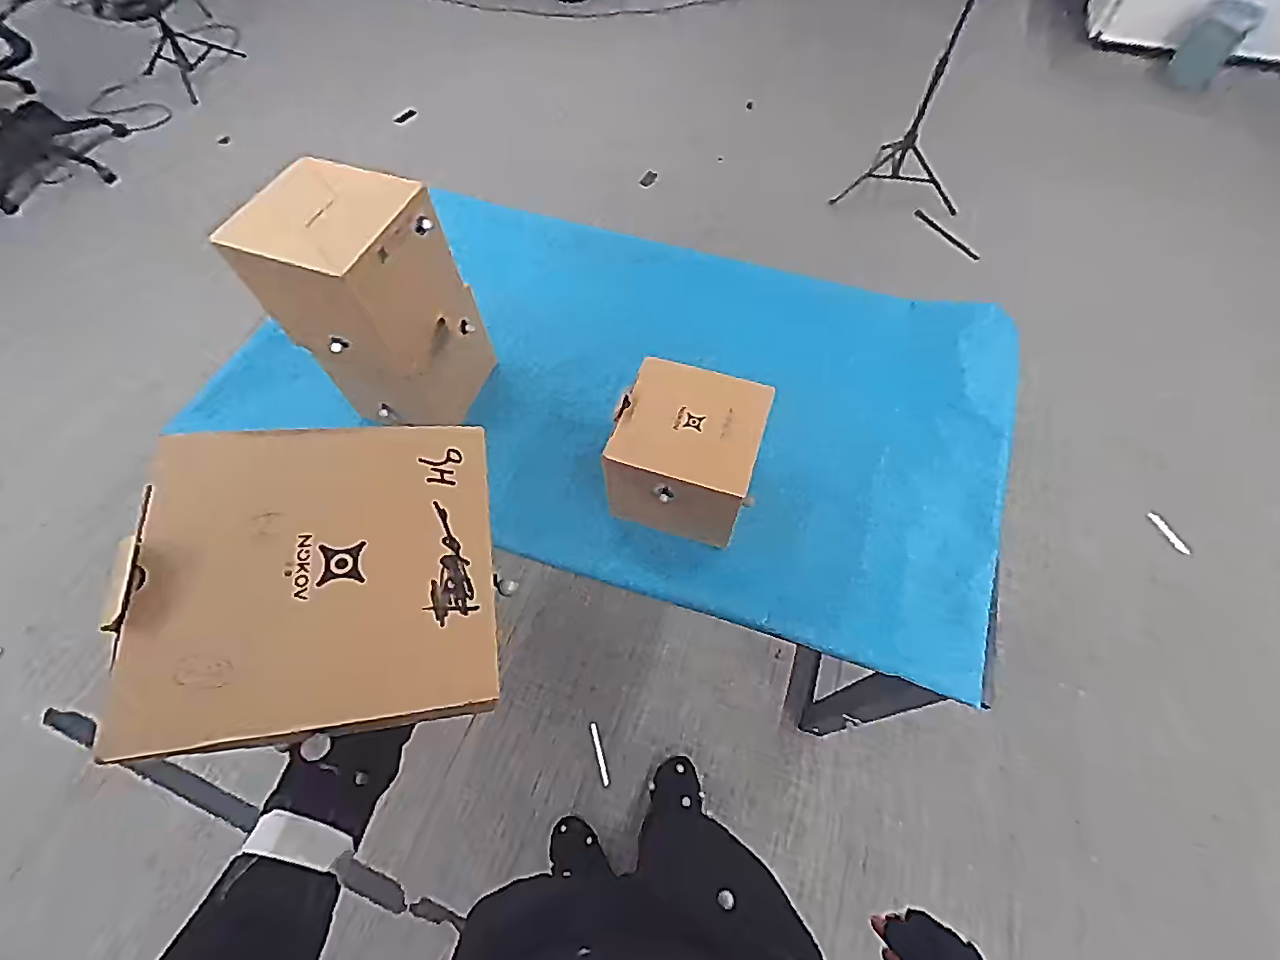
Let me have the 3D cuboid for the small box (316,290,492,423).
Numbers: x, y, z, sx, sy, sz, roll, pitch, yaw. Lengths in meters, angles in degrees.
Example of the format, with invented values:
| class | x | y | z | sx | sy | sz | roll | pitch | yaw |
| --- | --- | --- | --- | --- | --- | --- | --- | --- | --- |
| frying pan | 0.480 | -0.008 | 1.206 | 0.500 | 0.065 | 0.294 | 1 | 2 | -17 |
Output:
| class | x | y | z | sx | sy | sz | roll | pitch | yaw |
| --- | --- | --- | --- | --- | --- | --- | --- | --- | --- |
| small box | -0.347 | -0.189 | 0.825 | 0.168 | 0.176 | 0.179 | 19 | 66 | 13 |

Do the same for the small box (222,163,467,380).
| class | x | y | z | sx | sy | sz | roll | pitch | yaw |
| --- | --- | --- | --- | --- | --- | --- | --- | --- | --- |
| small box | -0.353 | -0.257 | 0.673 | 0.179 | 0.176 | 0.168 | 18 | 64 | 11 |

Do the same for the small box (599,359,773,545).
| class | x | y | z | sx | sy | sz | roll | pitch | yaw |
| --- | --- | --- | --- | --- | --- | --- | --- | --- | --- |
| small box | 0.062 | -0.030 | 0.727 | 0.179 | 0.176 | 0.168 | 17 | 64 | 11 |

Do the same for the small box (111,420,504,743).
| class | x | y | z | sx | sy | sz | roll | pitch | yaw |
| --- | --- | --- | --- | --- | --- | --- | --- | --- | --- |
| small box | -0.190 | 0.075 | 0.369 | 0.179 | 0.176 | 0.168 | -5 | 67 | -17 |
